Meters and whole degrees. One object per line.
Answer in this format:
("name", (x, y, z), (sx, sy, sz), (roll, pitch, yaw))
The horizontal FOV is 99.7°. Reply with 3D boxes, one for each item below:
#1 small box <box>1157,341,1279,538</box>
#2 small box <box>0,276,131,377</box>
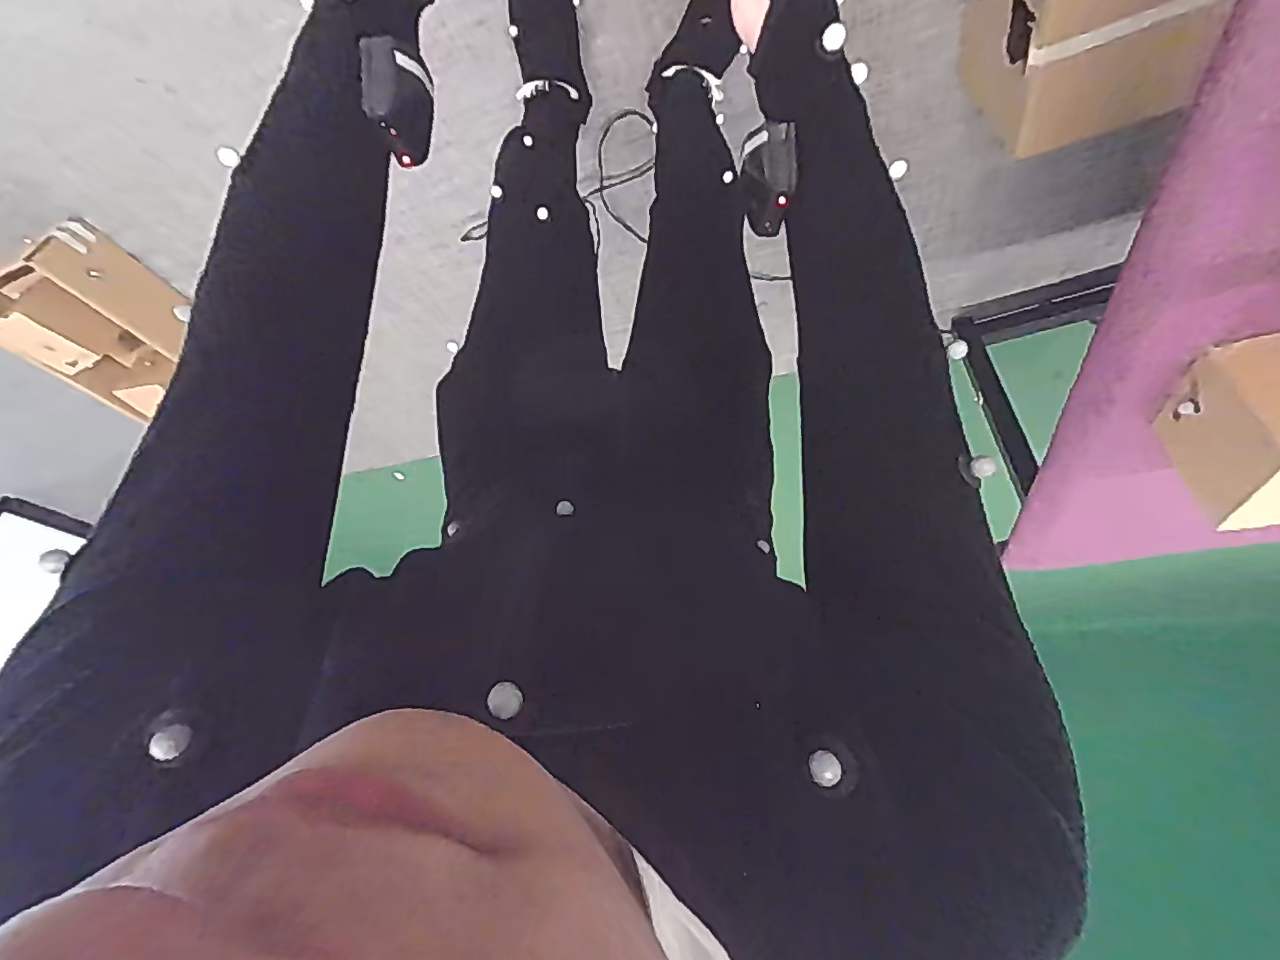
("small box", (0.765, -0.053, 0.617), (0.179, 0.176, 0.168), (-11, 145, 17))
("small box", (-1.521, -0.410, 1.426), (0.168, 0.176, 0.179), (-14, 146, 21))
